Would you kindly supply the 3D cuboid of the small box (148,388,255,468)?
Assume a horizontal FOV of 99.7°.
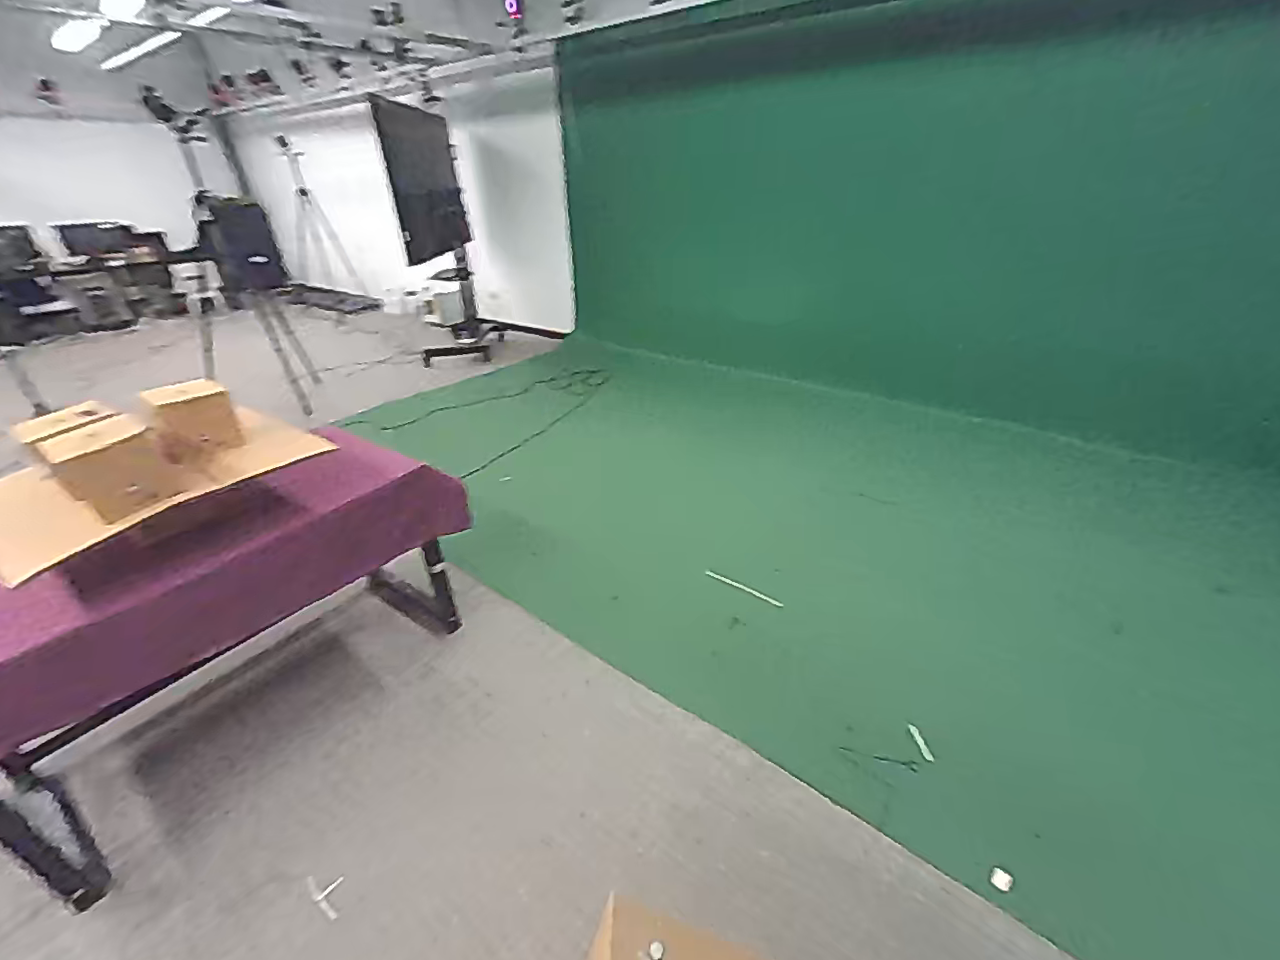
[{"bbox_3d":[-1.238,-0.148,1.533,0.179,0.176,0.168,19,33,32],"label":"small box"}]
